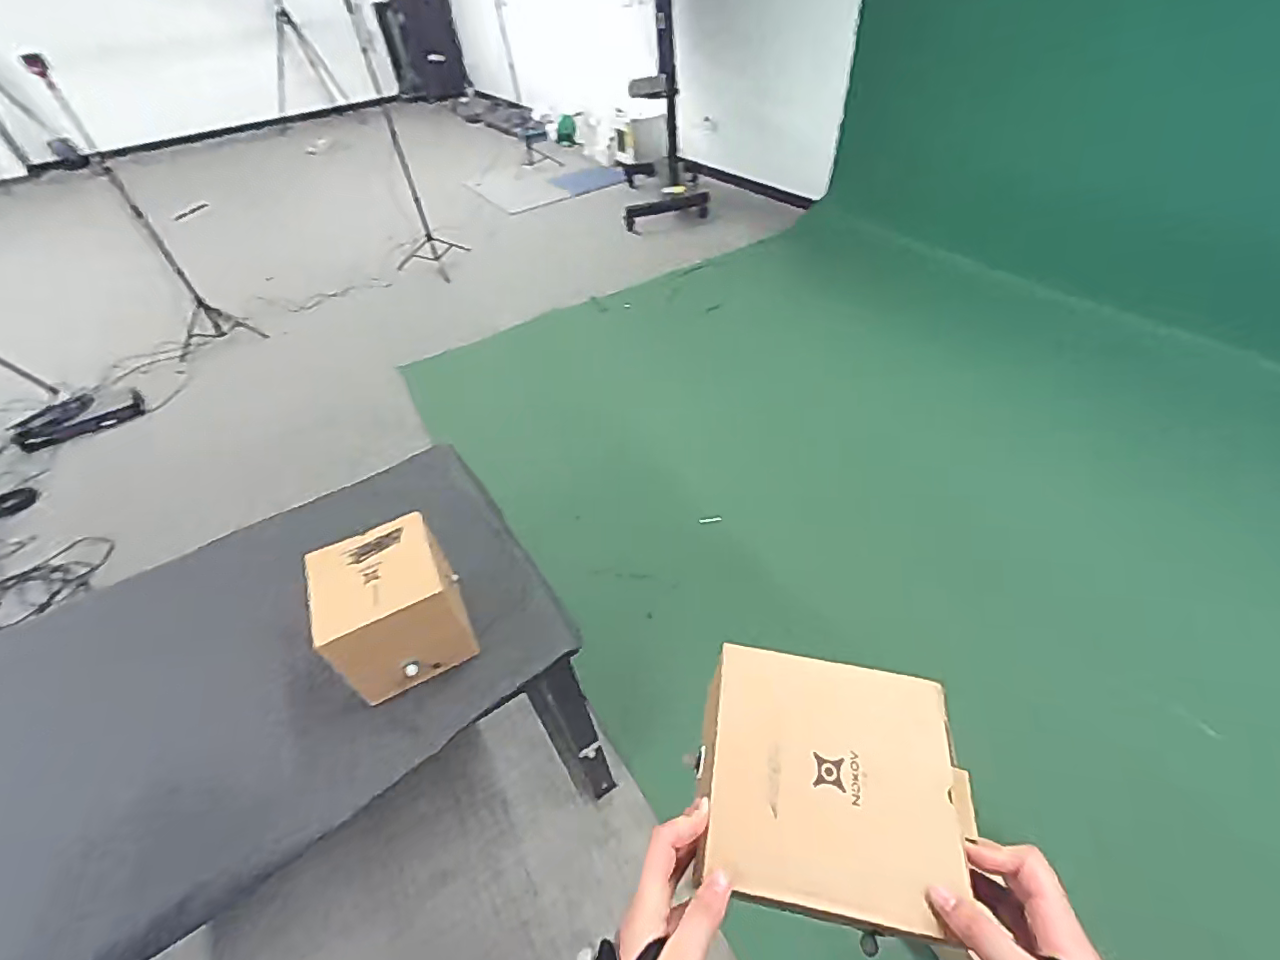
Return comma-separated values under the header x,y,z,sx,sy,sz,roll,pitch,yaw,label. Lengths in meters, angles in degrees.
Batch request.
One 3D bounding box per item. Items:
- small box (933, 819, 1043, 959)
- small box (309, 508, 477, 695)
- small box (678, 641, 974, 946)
x,y,z,sx,sy,sz,roll,pitch,yaw,label
0.641,0.829,1.086,0.168,0.176,0.179,-22,47,-16,small box
-0.361,0.179,0.801,0.168,0.176,0.179,-24,46,-16,small box
0.131,0.255,0.445,0.179,0.176,0.168,7,52,6,small box
